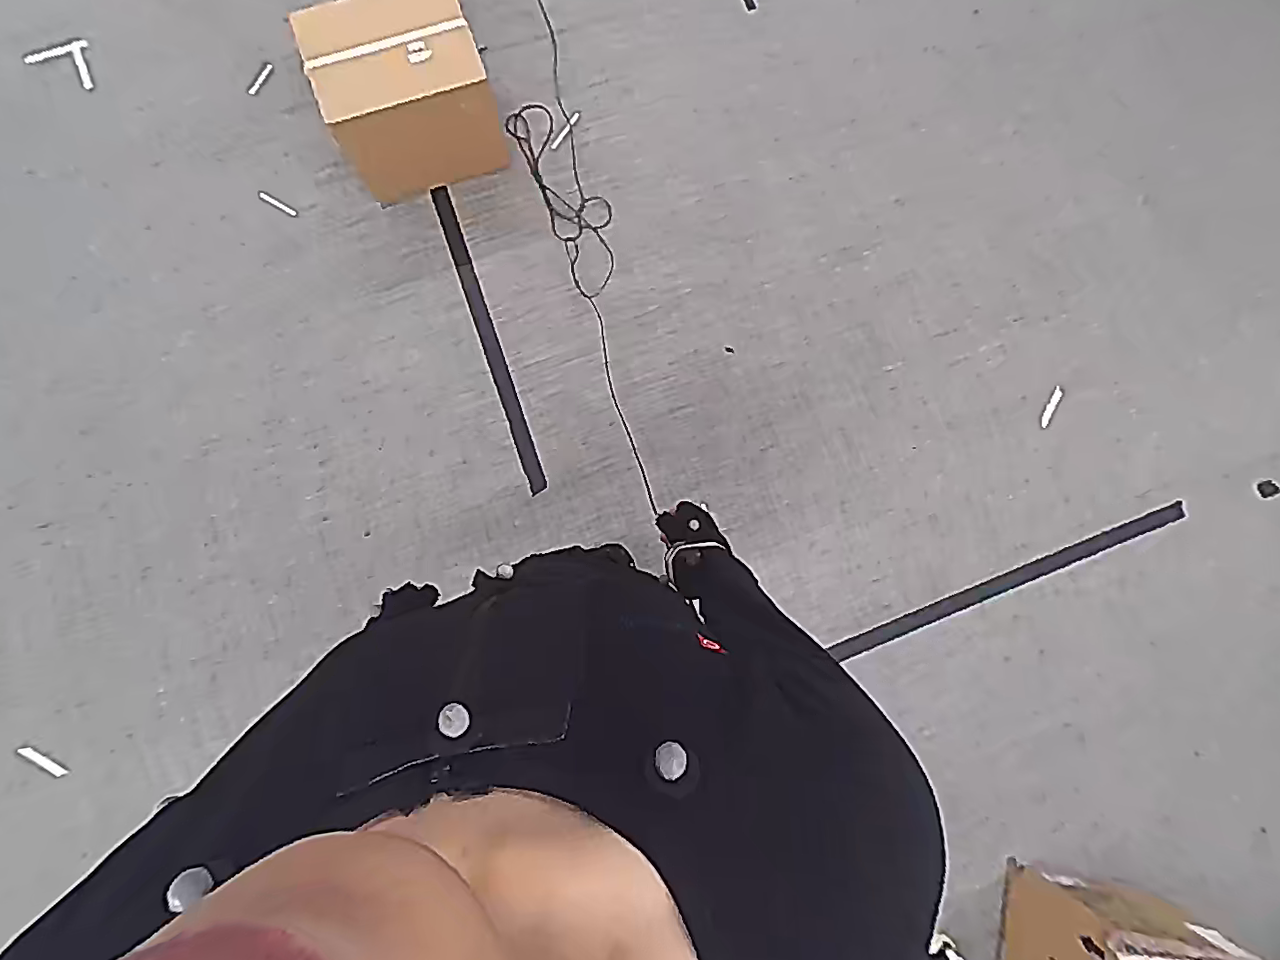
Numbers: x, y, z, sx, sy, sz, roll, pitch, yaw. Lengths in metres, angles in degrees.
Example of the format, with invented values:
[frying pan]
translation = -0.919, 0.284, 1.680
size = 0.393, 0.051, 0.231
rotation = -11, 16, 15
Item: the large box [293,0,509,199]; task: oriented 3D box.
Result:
[large box]
translation = -0.615, -1.038, 1.460
size = 0.408, 0.320, 0.320
rotation = -20, 85, -5
